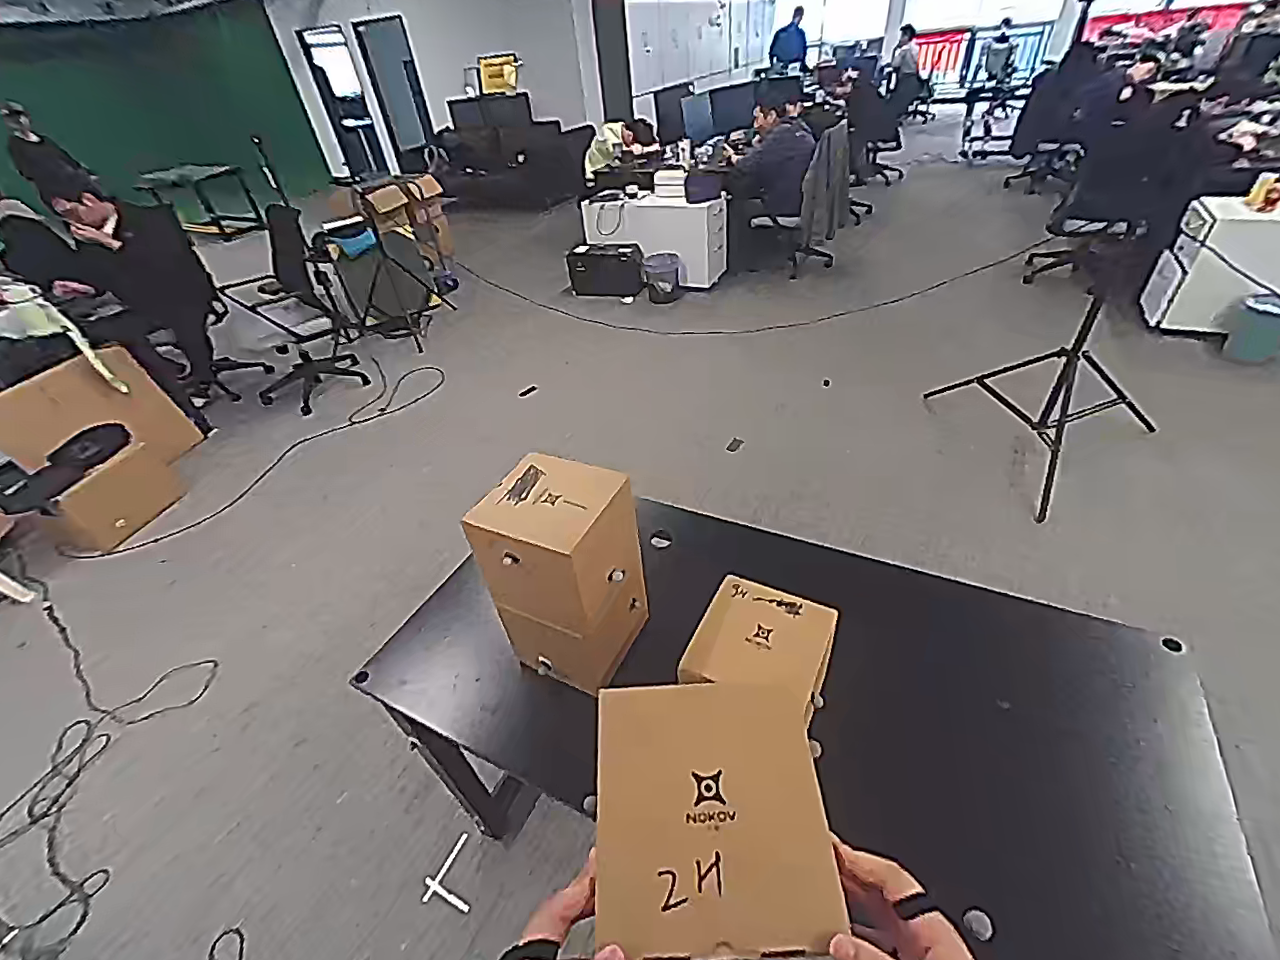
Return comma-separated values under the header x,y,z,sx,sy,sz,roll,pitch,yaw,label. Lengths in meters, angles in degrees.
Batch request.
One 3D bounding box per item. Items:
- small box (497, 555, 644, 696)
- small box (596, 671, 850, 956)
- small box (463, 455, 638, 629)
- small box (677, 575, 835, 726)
x,y,z,sx,sy,sz,roll,pitch,yaw,label
-0.102,0.215,0.890,0.168,0.176,0.179,13,44,24,small box
0.056,0.283,0.459,0.168,0.176,0.179,-4,48,2,small box
-0.118,0.089,0.786,0.179,0.176,0.168,13,43,23,small box
0.167,0.275,0.775,0.168,0.176,0.179,16,44,25,small box
